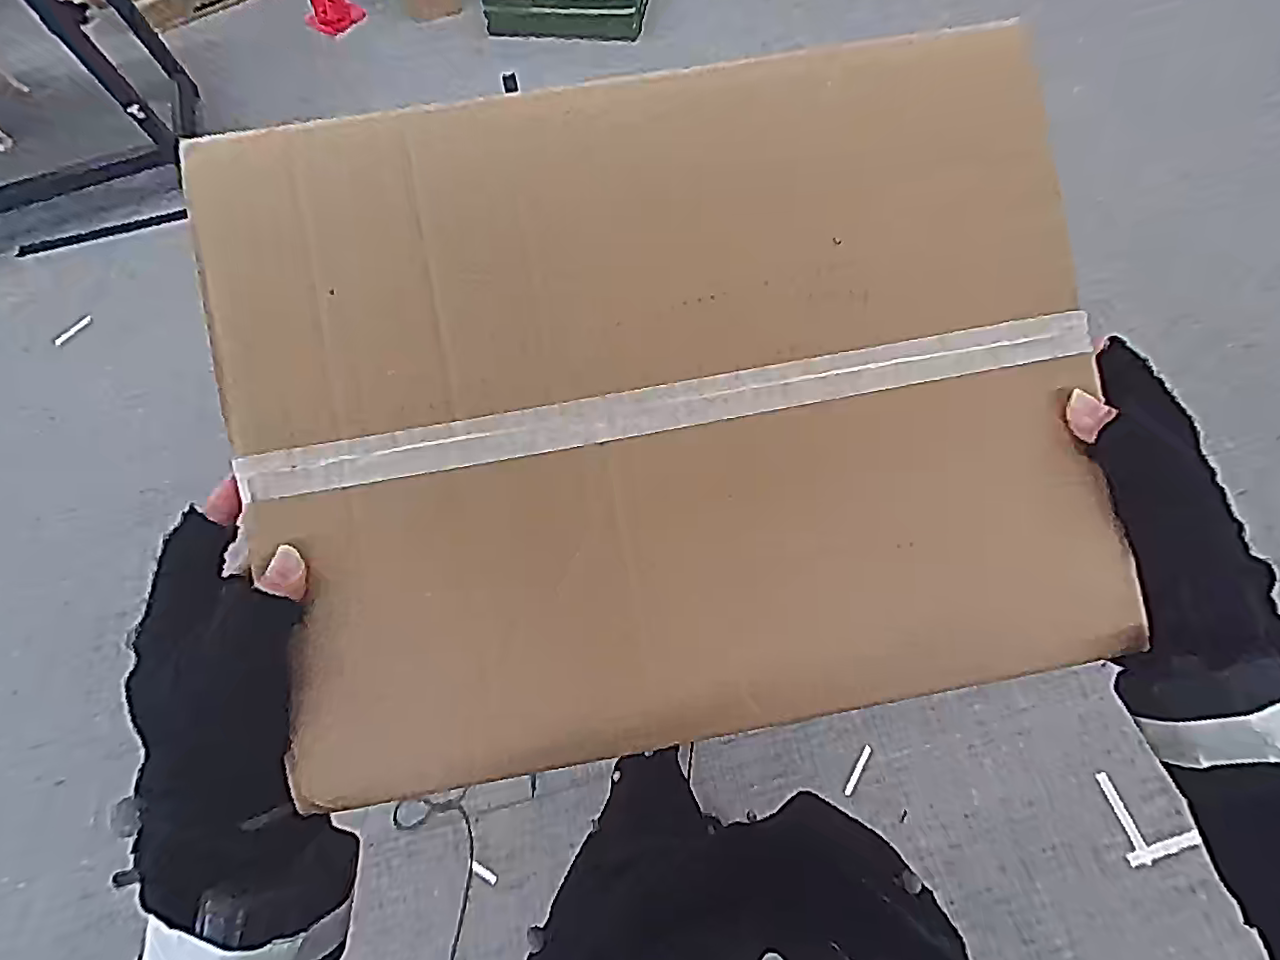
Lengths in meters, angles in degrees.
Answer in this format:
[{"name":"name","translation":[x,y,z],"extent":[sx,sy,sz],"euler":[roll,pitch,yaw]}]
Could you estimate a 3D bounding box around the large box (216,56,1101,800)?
[{"name":"large box","translation":[0.011,-0.031,0.416],"extent":[0.408,0.320,0.320],"euler":[-10,89,-3]}]
